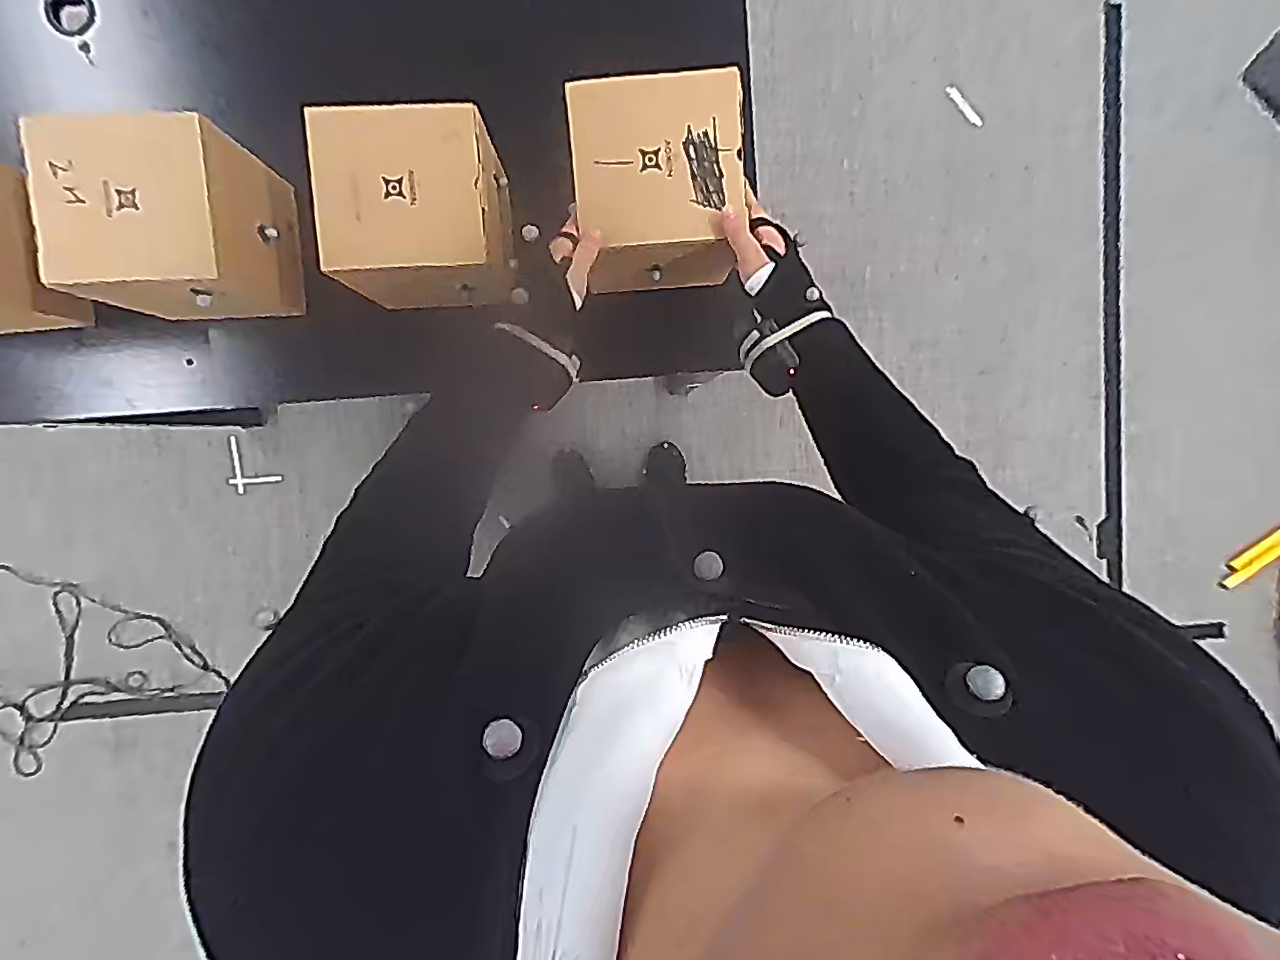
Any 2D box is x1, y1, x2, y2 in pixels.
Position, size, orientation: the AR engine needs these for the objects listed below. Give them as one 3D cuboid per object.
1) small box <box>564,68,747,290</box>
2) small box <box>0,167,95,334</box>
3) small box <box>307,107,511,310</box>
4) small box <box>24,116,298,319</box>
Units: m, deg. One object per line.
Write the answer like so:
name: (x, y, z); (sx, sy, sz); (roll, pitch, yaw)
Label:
small box: (0.015, -0.325, 0.617); (0.179, 0.176, 0.168); (-5, 95, 0)
small box: (-0.800, -0.267, 0.618); (0.179, 0.176, 0.168); (-7, 95, -2)
small box: (-0.255, -0.307, 0.644); (0.179, 0.176, 0.168); (-4, 93, -2)
small box: (-0.528, -0.289, 0.629); (0.179, 0.176, 0.168); (-3, 94, -2)
